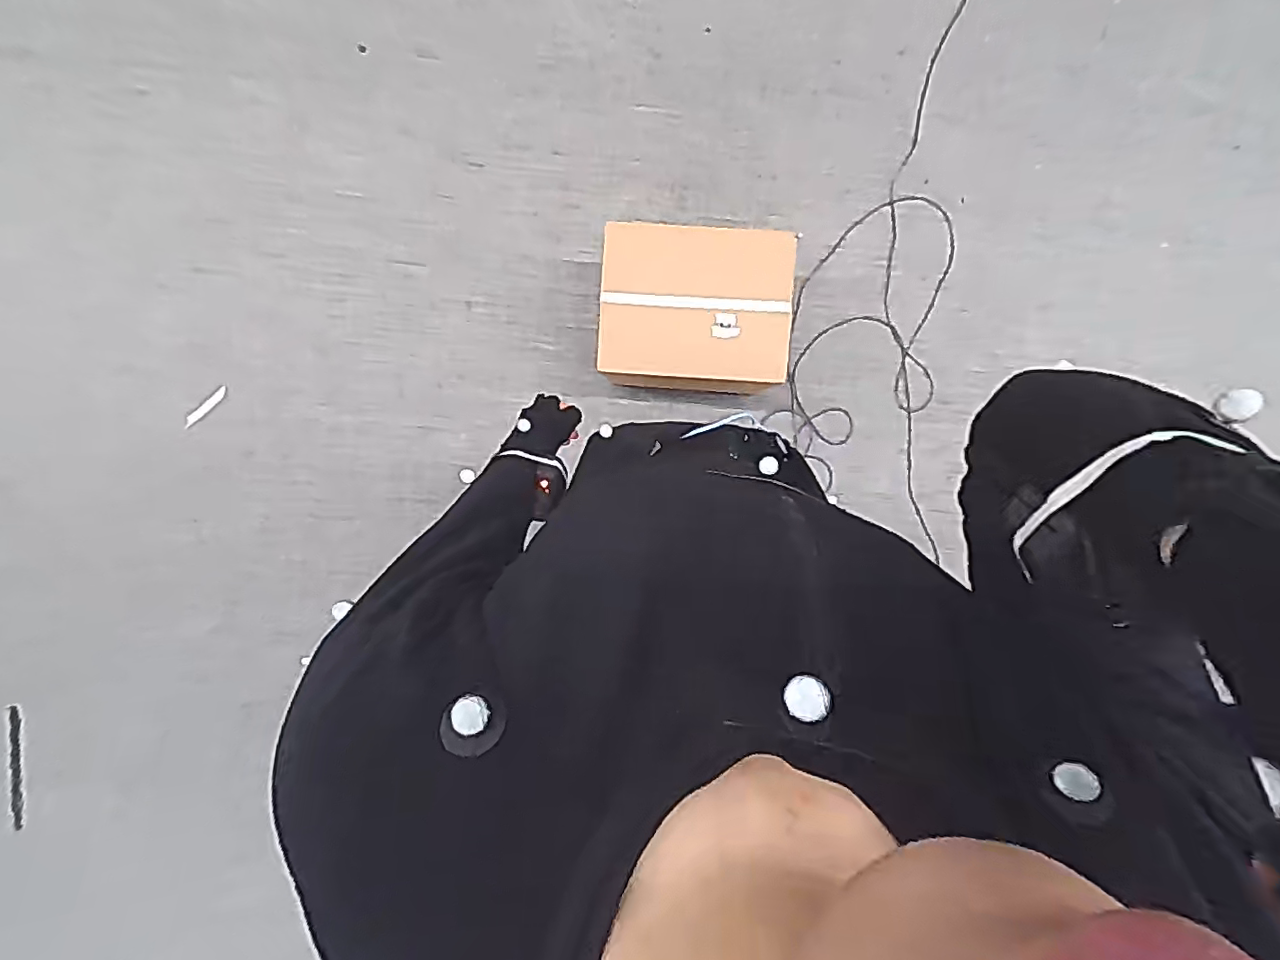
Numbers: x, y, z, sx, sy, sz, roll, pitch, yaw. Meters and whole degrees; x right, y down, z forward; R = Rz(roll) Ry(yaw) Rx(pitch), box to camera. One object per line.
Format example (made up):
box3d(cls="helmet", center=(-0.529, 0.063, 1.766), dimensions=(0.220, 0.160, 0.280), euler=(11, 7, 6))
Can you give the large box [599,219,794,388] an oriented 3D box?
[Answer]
box3d(cls="large box", center=(0.118, -0.397, 1.294), dimensions=(0.408, 0.320, 0.320), euler=(4, 96, 1))
